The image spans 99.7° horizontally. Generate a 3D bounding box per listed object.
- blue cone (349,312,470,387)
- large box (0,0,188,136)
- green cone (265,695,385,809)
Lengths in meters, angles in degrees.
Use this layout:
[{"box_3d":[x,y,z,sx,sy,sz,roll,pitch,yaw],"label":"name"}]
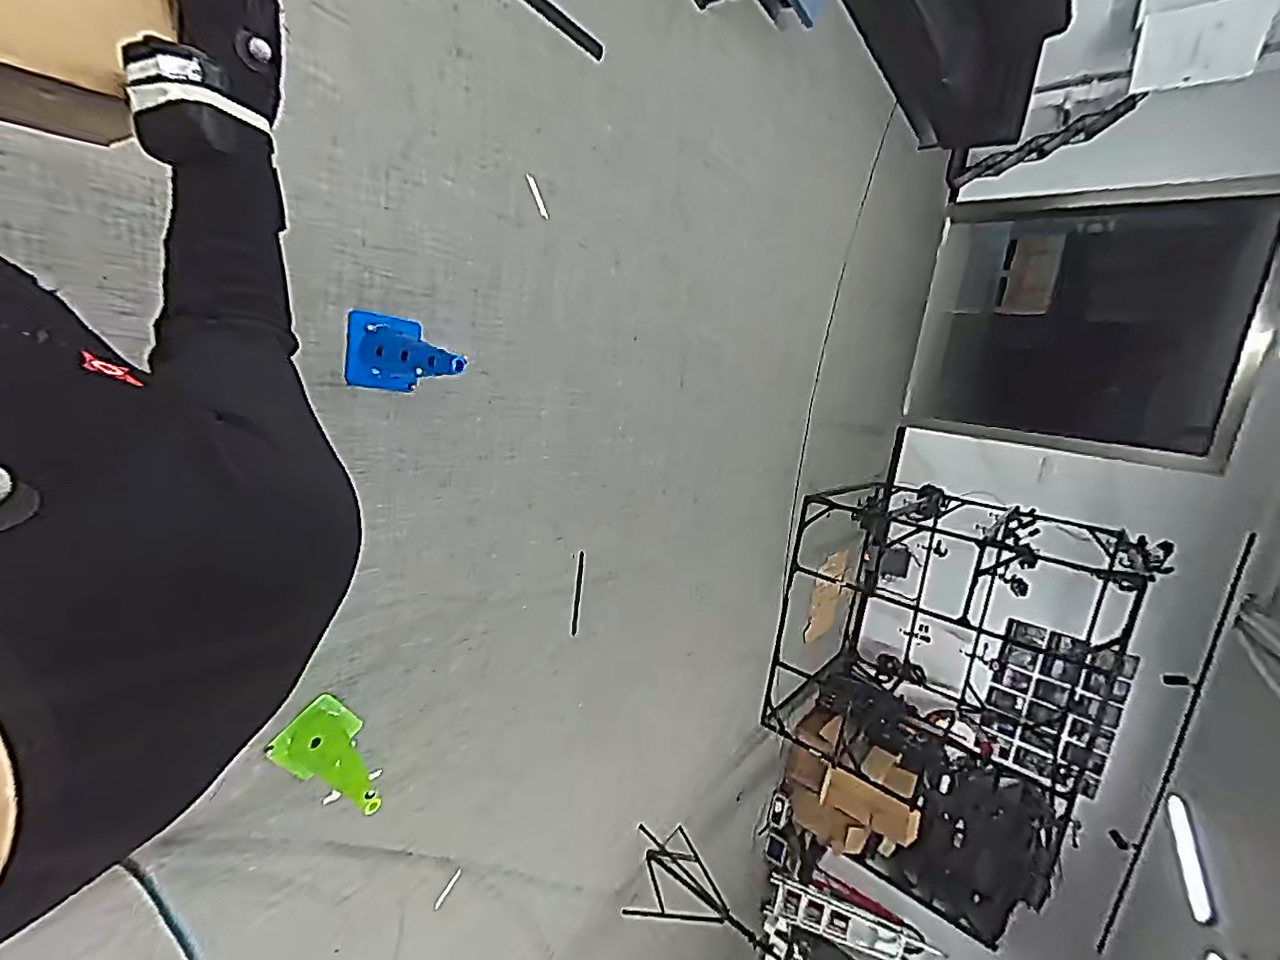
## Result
[{"box_3d":[-0.574,-0.320,1.395,0.192,0.380,0.193,-1,104,-53],"label":"blue cone"},{"box_3d":[-0.555,-0.434,0.291,0.408,0.320,0.320,-12,117,-51],"label":"large box"},{"box_3d":[-0.809,0.784,1.472,0.202,0.368,0.200,-49,138,-31],"label":"green cone"}]
